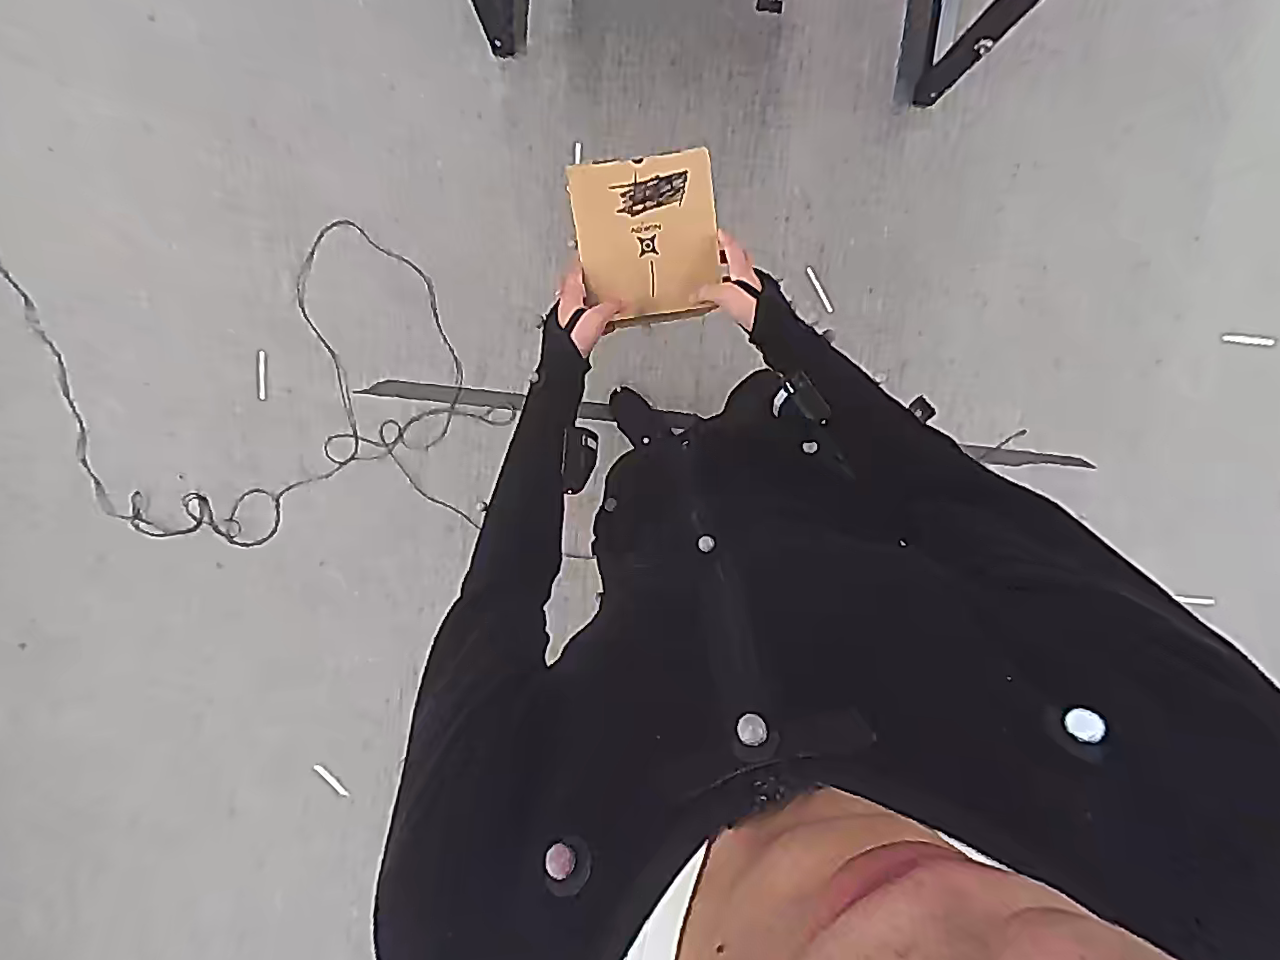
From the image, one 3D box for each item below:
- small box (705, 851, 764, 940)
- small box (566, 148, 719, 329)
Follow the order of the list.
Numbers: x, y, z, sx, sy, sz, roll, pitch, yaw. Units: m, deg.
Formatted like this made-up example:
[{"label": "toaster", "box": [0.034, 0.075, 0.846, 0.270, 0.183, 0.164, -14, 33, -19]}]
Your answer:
[{"label": "small box", "box": [0.311, 1.383, 1.805, 0.168, 0.176, 0.179, -1, 100, -2]}, {"label": "small box", "box": [-0.001, -0.301, 0.708, 0.168, 0.176, 0.179, -9, 103, -2]}]
